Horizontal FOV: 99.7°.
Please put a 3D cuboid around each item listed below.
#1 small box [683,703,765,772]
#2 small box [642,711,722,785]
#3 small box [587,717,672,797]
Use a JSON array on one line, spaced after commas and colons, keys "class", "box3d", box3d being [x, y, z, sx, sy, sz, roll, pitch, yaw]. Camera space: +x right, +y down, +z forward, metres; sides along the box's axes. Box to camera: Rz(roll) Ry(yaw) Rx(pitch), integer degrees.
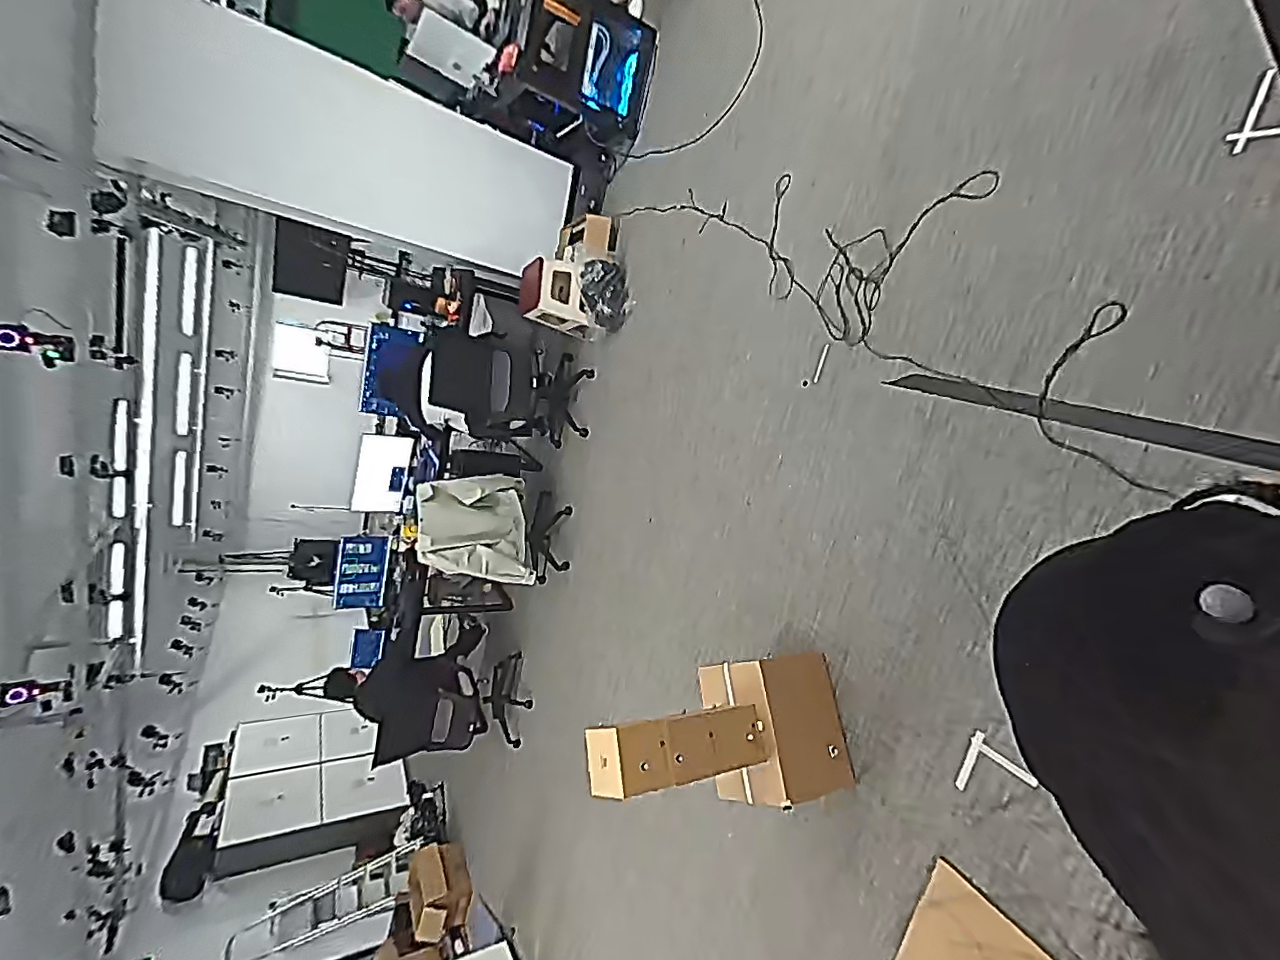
[{"class": "small box", "box3d": [0.251, 0.780, 1.645, 0.179, 0.176, 0.168, -35, 56, 49]}, {"class": "small box", "box3d": [0.112, 0.767, 1.559, 0.179, 0.176, 0.168, -36, 56, 50]}, {"class": "small box", "box3d": [-0.024, 0.748, 1.472, 0.179, 0.176, 0.168, -36, 56, 50]}]
